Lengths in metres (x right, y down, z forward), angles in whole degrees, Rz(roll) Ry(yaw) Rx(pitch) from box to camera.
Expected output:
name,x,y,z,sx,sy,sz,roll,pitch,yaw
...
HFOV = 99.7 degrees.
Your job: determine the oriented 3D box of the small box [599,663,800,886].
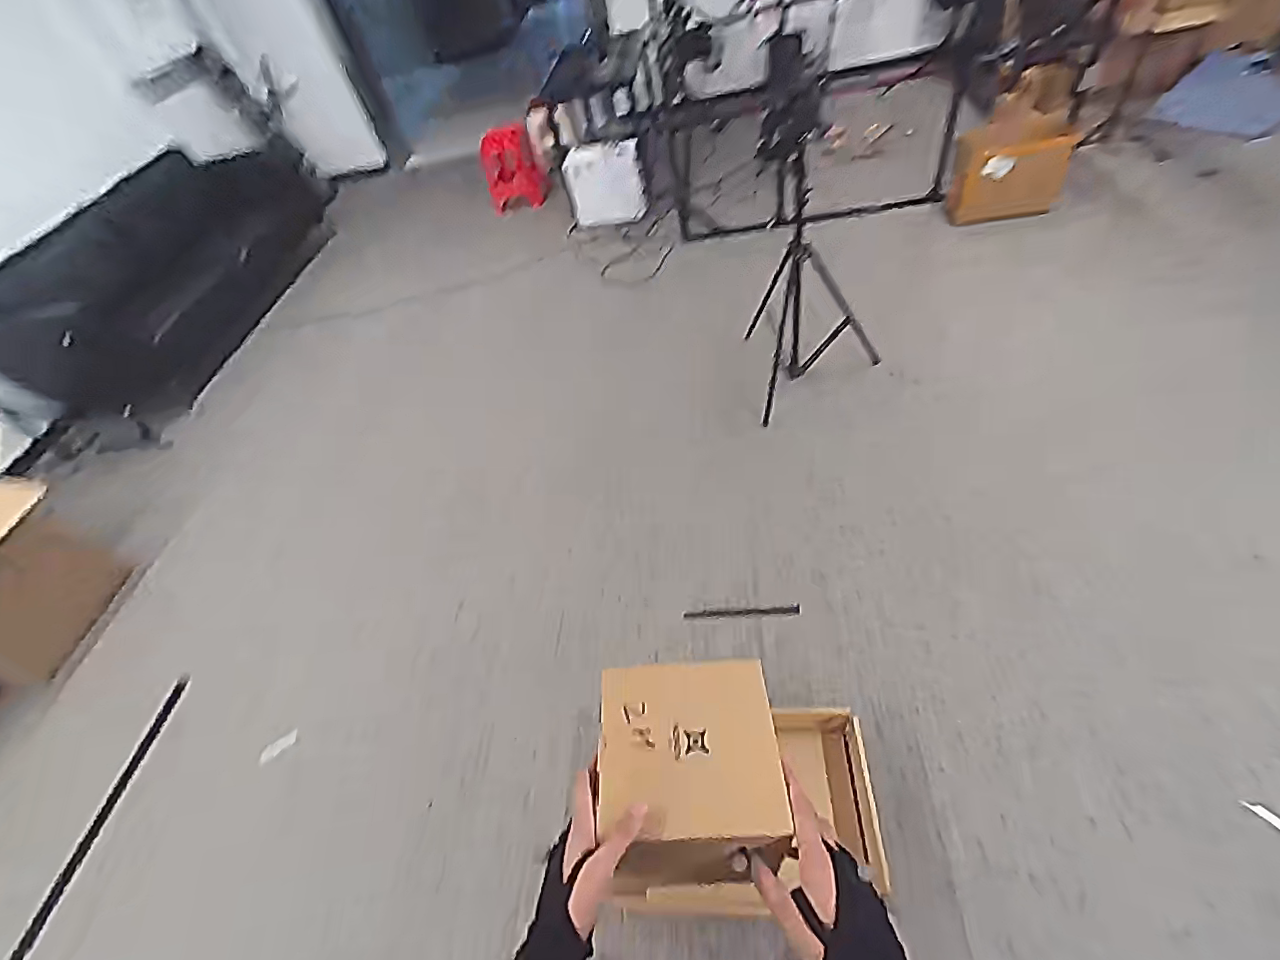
name,x,y,z,sx,sy,sz,roll,pitch,yaw
small box,0.052,0.312,0.573,0.179,0.176,0.168,-3,42,1
